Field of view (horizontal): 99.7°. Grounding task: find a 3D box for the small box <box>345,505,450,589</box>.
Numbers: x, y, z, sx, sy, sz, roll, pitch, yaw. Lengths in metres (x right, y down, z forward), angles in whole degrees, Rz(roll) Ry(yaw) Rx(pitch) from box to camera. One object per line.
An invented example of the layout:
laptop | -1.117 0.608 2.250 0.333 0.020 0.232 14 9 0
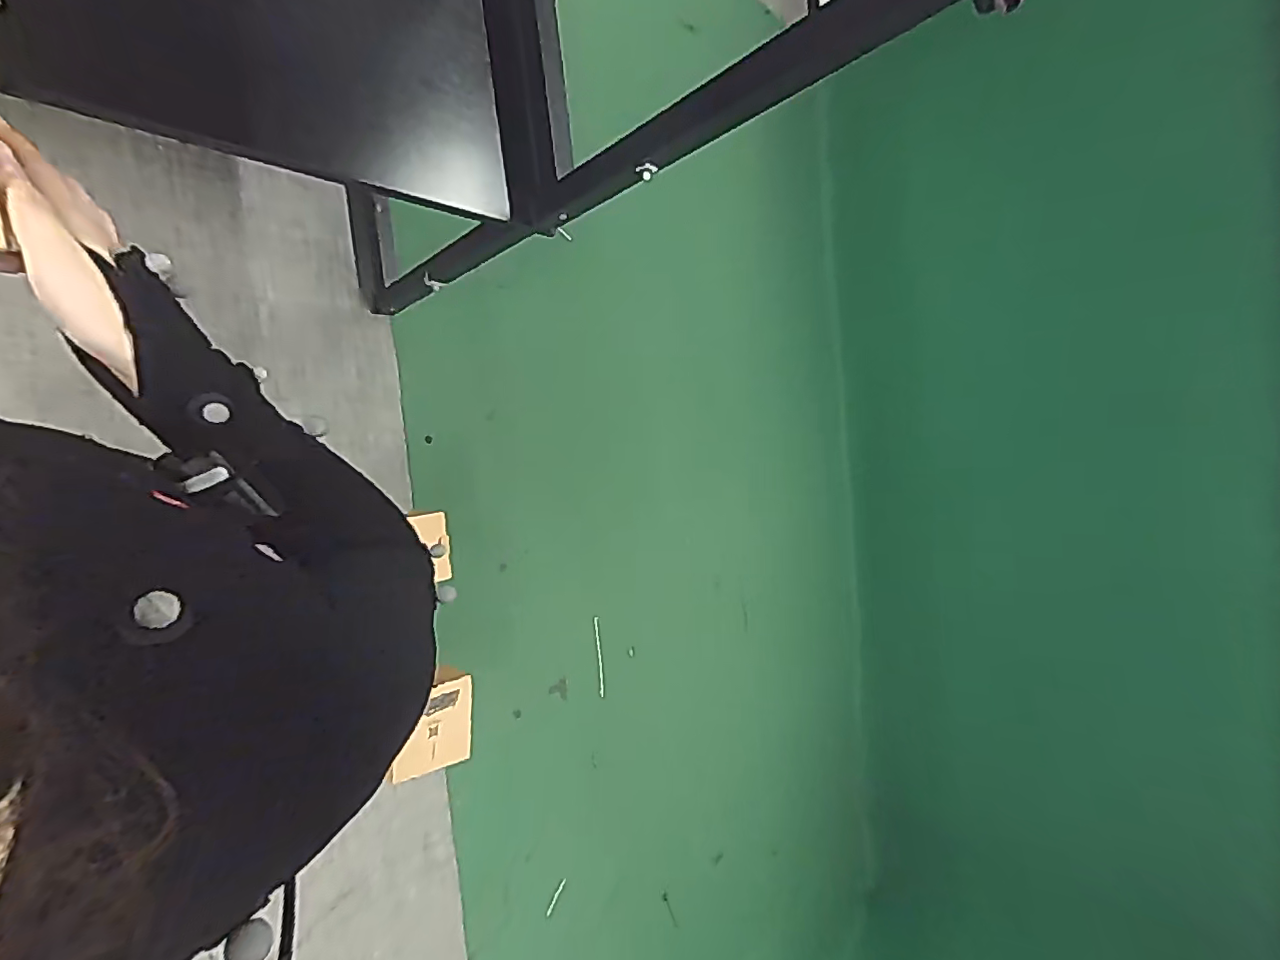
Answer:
small box | -0.582 0.155 1.289 0.179 0.176 0.168 -10 96 -48

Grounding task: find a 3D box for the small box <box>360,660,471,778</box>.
small box | -0.478 0.491 1.147 0.168 0.176 0.179 4 86 -46
